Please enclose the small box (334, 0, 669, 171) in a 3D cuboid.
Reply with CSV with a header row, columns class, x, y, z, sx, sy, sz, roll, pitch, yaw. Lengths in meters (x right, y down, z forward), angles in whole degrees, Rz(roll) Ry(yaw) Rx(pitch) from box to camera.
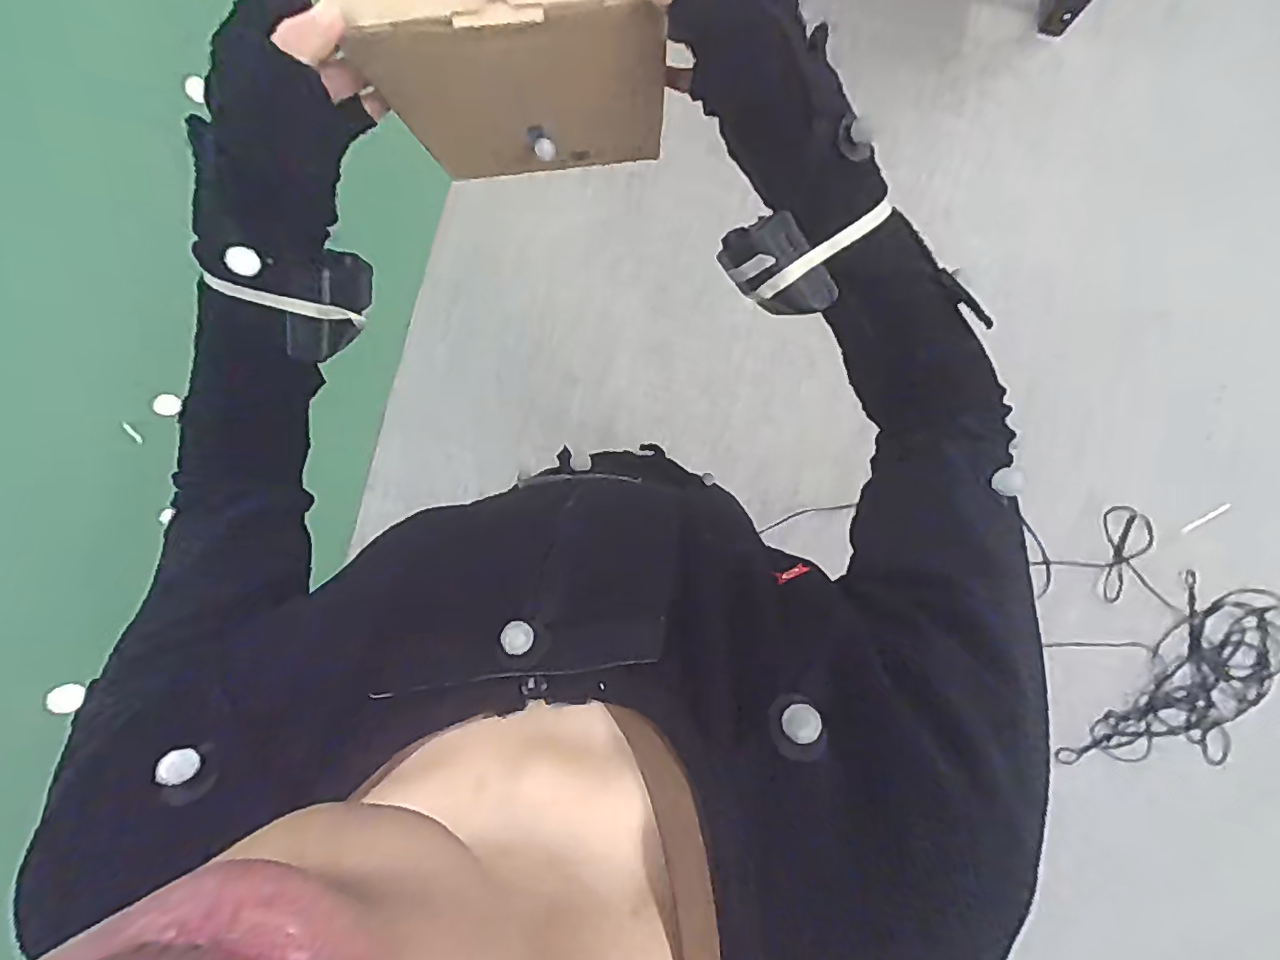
class,x,y,z,sx,sy,sz,roll,pitch,yaw
small box,-0.073,-0.321,0.325,0.168,0.176,0.179,-4,95,2
